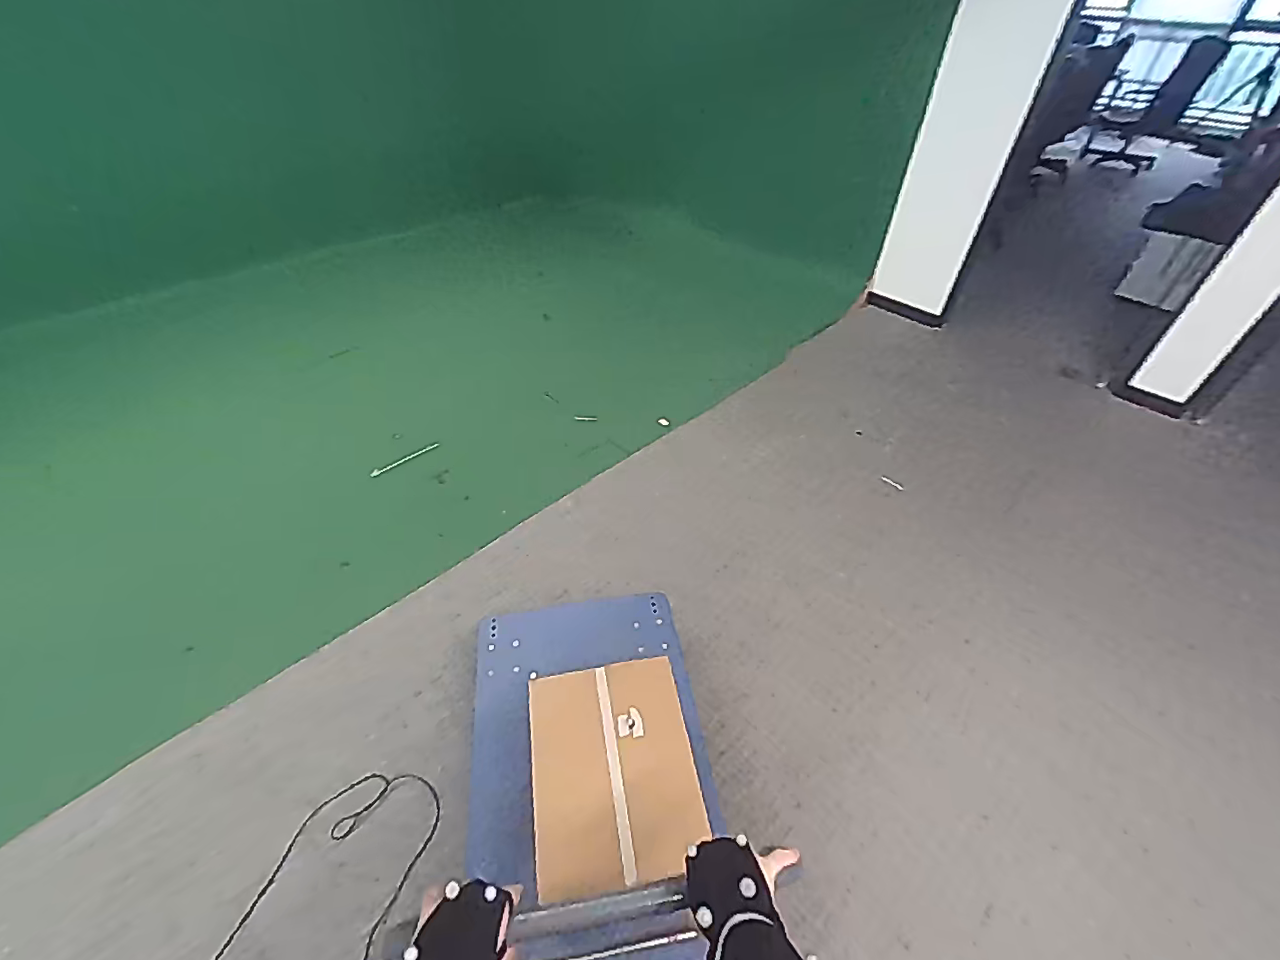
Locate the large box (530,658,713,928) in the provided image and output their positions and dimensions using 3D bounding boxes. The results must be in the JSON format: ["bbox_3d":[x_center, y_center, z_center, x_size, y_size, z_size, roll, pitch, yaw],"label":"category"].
[{"bbox_3d":[-0.055,0.669,1.177,0.320,0.320,0.408,-6,44,-8],"label":"large box"}]
